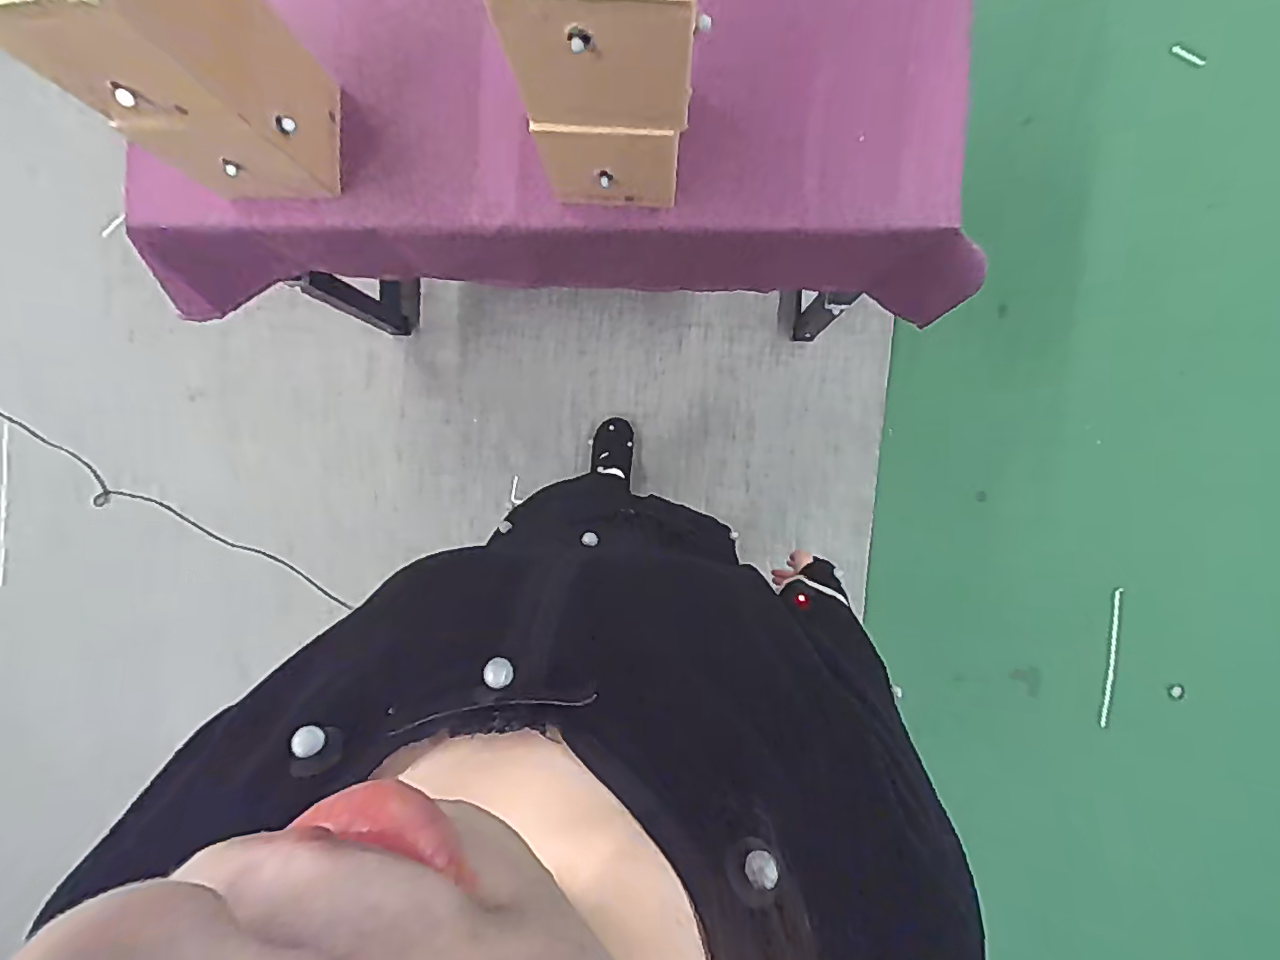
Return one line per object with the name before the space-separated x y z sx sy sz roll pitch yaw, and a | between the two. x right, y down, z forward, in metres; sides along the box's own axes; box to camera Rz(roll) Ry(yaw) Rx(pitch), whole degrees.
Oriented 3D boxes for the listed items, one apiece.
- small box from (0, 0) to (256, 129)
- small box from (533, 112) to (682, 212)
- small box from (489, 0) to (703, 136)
small box | -0.525 -0.495 0.544 0.168 0.176 0.179 2 91 3
small box | -0.030 -0.466 0.687 0.168 0.176 0.179 5 91 2
small box | -0.029 -0.466 0.522 0.179 0.176 0.168 5 92 2
